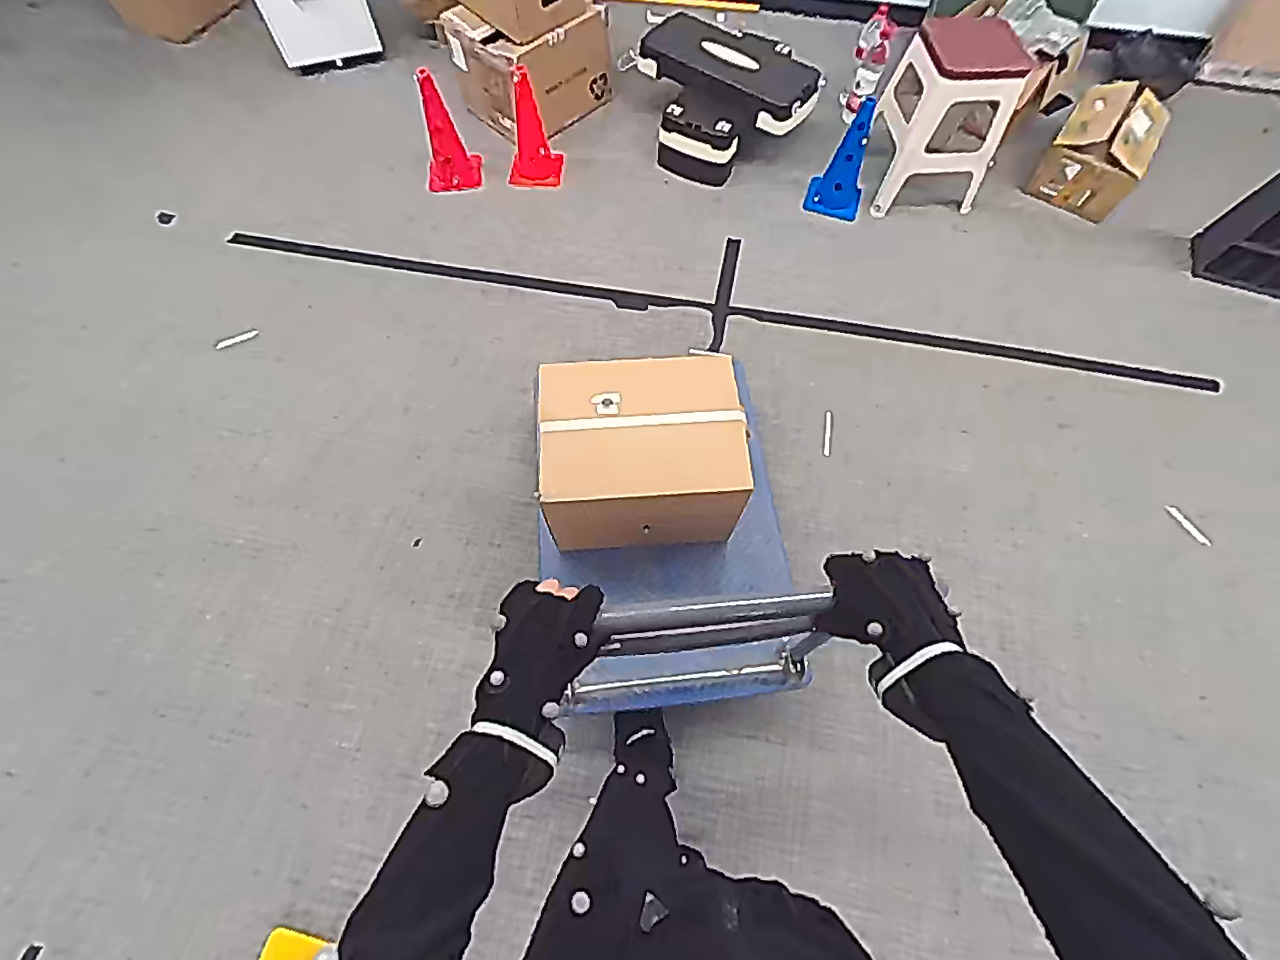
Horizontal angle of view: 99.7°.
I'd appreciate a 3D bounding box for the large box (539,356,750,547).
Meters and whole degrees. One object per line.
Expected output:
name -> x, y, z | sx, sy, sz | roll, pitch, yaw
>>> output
large box -> 0.001, -0.048, 1.210 | 0.408, 0.320, 0.320 | -4, 66, -2
